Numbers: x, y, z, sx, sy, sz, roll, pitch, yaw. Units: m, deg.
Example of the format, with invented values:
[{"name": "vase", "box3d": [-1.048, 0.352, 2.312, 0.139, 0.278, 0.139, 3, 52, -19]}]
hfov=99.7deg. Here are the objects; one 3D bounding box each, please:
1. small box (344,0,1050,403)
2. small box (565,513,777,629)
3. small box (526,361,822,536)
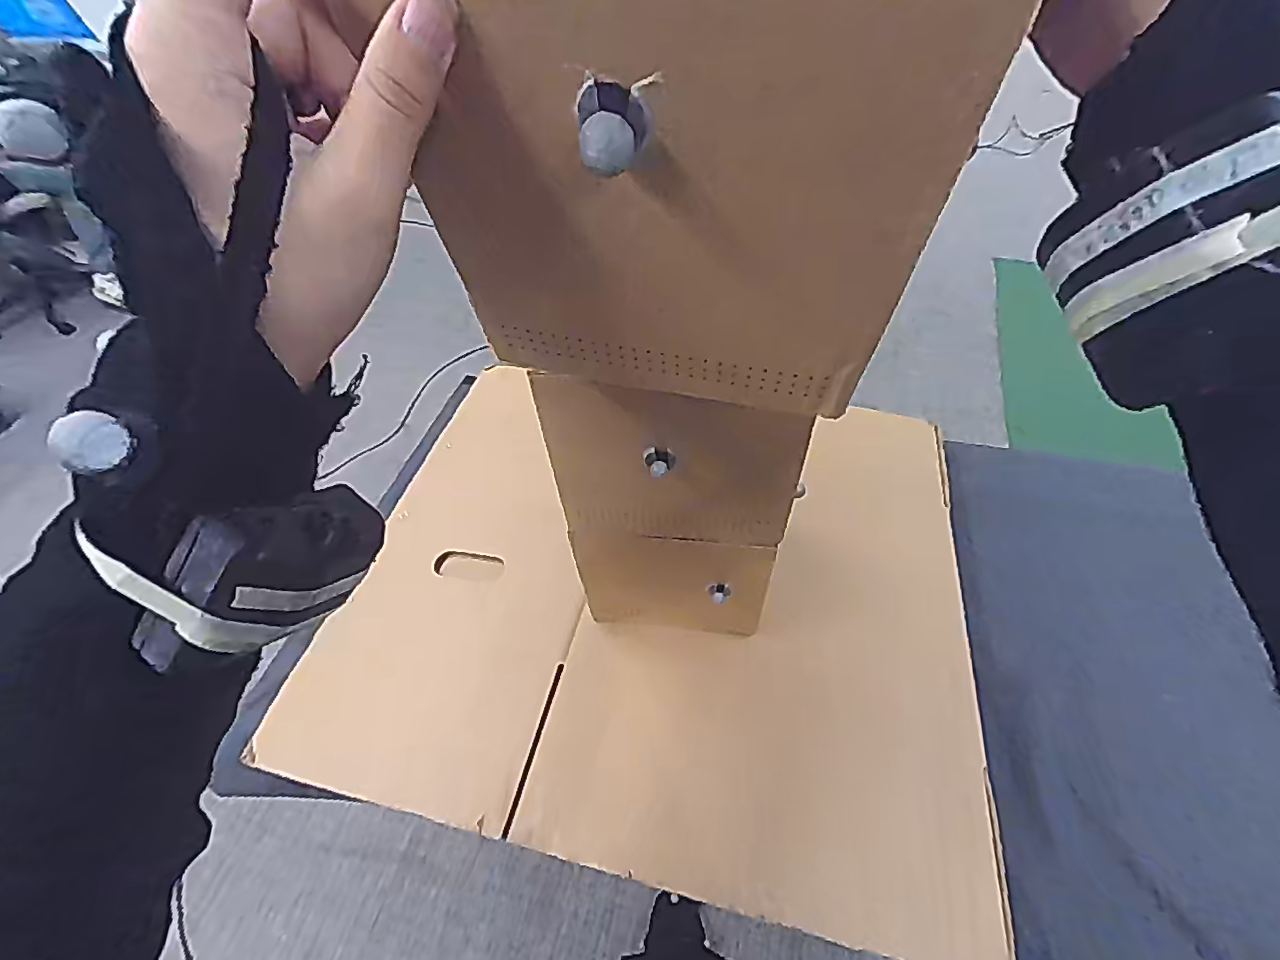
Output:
[{"name": "small box", "box3d": [0.027, -0.152, 0.228, 0.179, 0.176, 0.168, 11, 65, 11]}, {"name": "small box", "box3d": [0.036, 0.038, 0.550, 0.179, 0.176, 0.168, 3, 50, 7]}, {"name": "small box", "box3d": [0.029, -0.069, 0.425, 0.179, 0.176, 0.168, 2, 50, 6]}]
